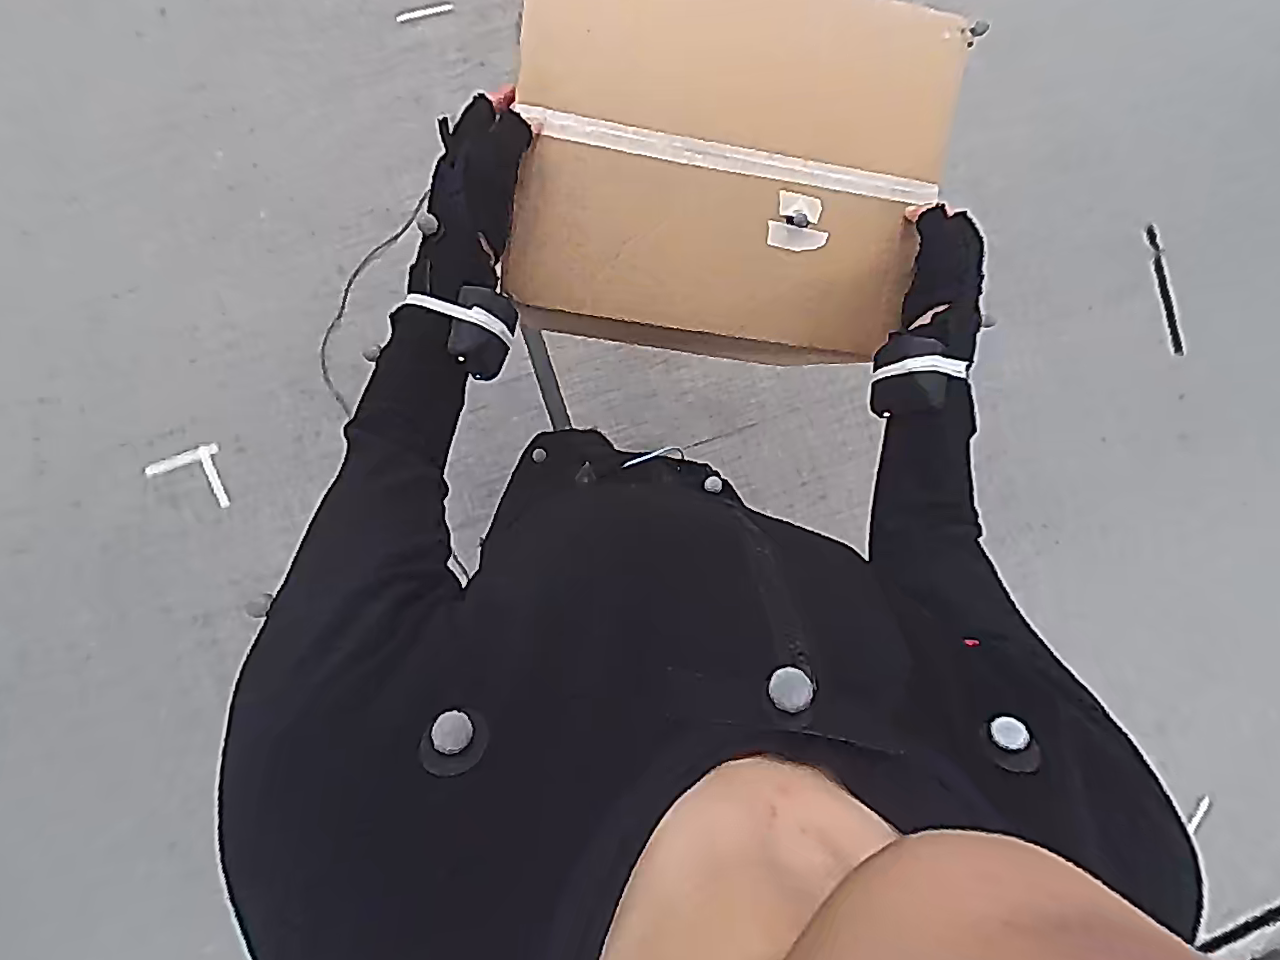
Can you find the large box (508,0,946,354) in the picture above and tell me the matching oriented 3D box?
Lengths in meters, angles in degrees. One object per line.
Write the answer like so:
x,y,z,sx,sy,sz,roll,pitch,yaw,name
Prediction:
0.063,-0.333,0.658,0.408,0.320,0.320,5,101,-8,large box
